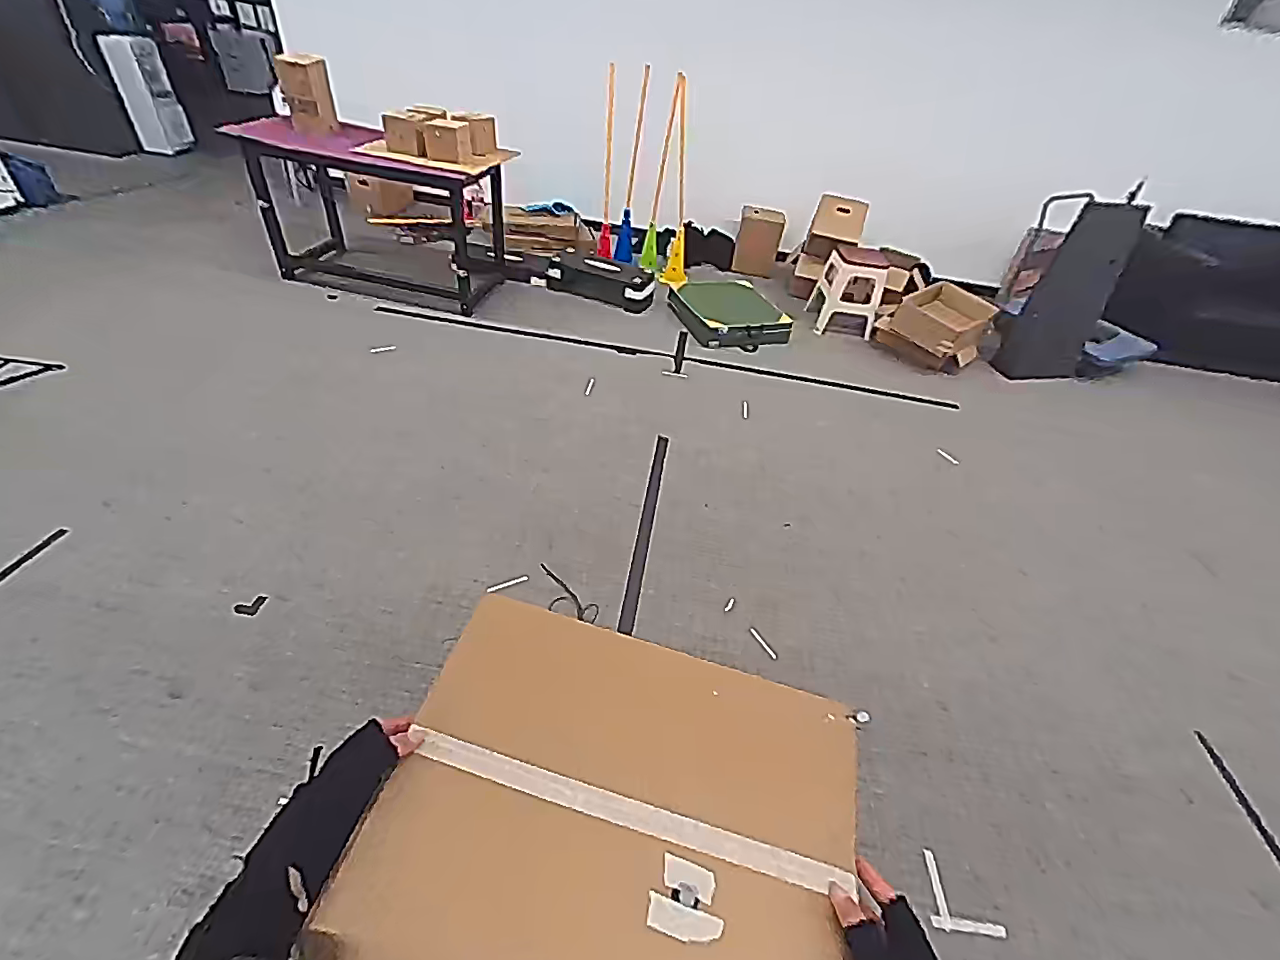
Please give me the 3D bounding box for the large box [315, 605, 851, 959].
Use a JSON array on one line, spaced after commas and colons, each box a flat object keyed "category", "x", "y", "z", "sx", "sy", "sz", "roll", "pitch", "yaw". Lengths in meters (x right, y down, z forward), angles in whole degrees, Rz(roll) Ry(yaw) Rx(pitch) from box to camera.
[{"category": "large box", "x": -0.032, "y": 0.393, "z": 0.584, "sx": 0.408, "sy": 0.320, "sz": 0.320, "roll": 17, "pitch": 48, "yaw": 5}]
